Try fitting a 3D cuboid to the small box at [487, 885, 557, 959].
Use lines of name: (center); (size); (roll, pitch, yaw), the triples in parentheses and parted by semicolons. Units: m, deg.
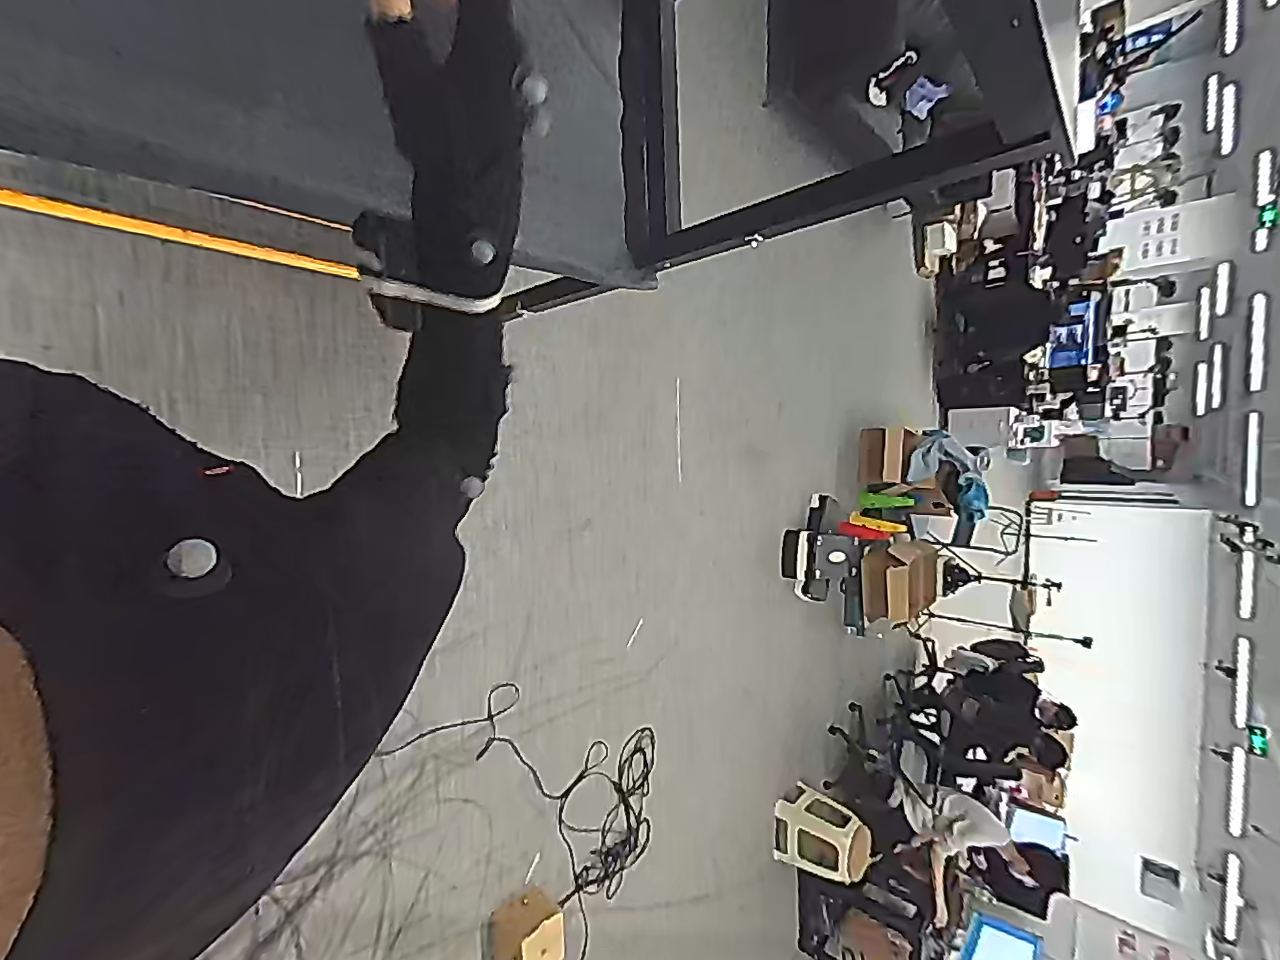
small box: (-0.392, 1.507, 1.791); (0.168, 0.176, 0.179); (-6, 95, -48)
